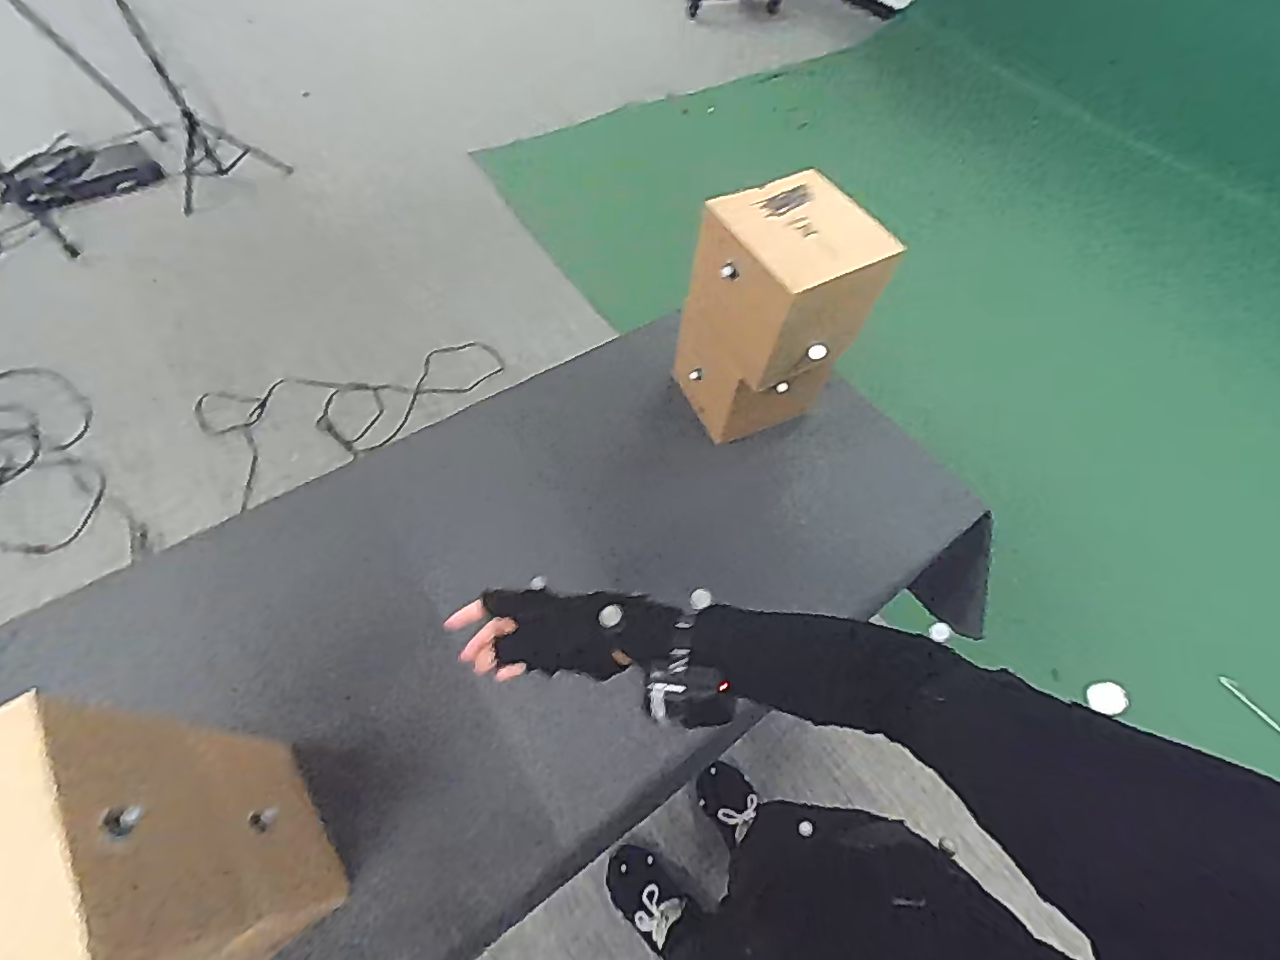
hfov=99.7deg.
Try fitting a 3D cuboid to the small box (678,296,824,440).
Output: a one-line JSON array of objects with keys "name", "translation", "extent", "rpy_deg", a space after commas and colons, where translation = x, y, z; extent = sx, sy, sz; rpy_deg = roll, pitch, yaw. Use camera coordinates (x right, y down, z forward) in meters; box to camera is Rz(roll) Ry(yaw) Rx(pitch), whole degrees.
[{"name": "small box", "translation": [0.168, -0.188, 0.845], "extent": [0.179, 0.176, 0.168], "rpy_deg": [-19, 63, -15]}]

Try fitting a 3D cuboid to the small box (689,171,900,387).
[{"name": "small box", "translation": [0.180, -0.253, 0.694], "extent": [0.168, 0.176, 0.179], "rpy_deg": [-26, 65, -17]}]

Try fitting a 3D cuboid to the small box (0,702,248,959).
[{"name": "small box", "translation": [-0.397, 0.275, 0.344], "extent": [0.168, 0.176, 0.179], "rpy_deg": [-31, 66, -21]}]

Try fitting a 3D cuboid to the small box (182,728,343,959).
[{"name": "small box", "translation": [-0.406, 0.359, 0.483], "extent": [0.168, 0.176, 0.179], "rpy_deg": [-33, 67, -21]}]
